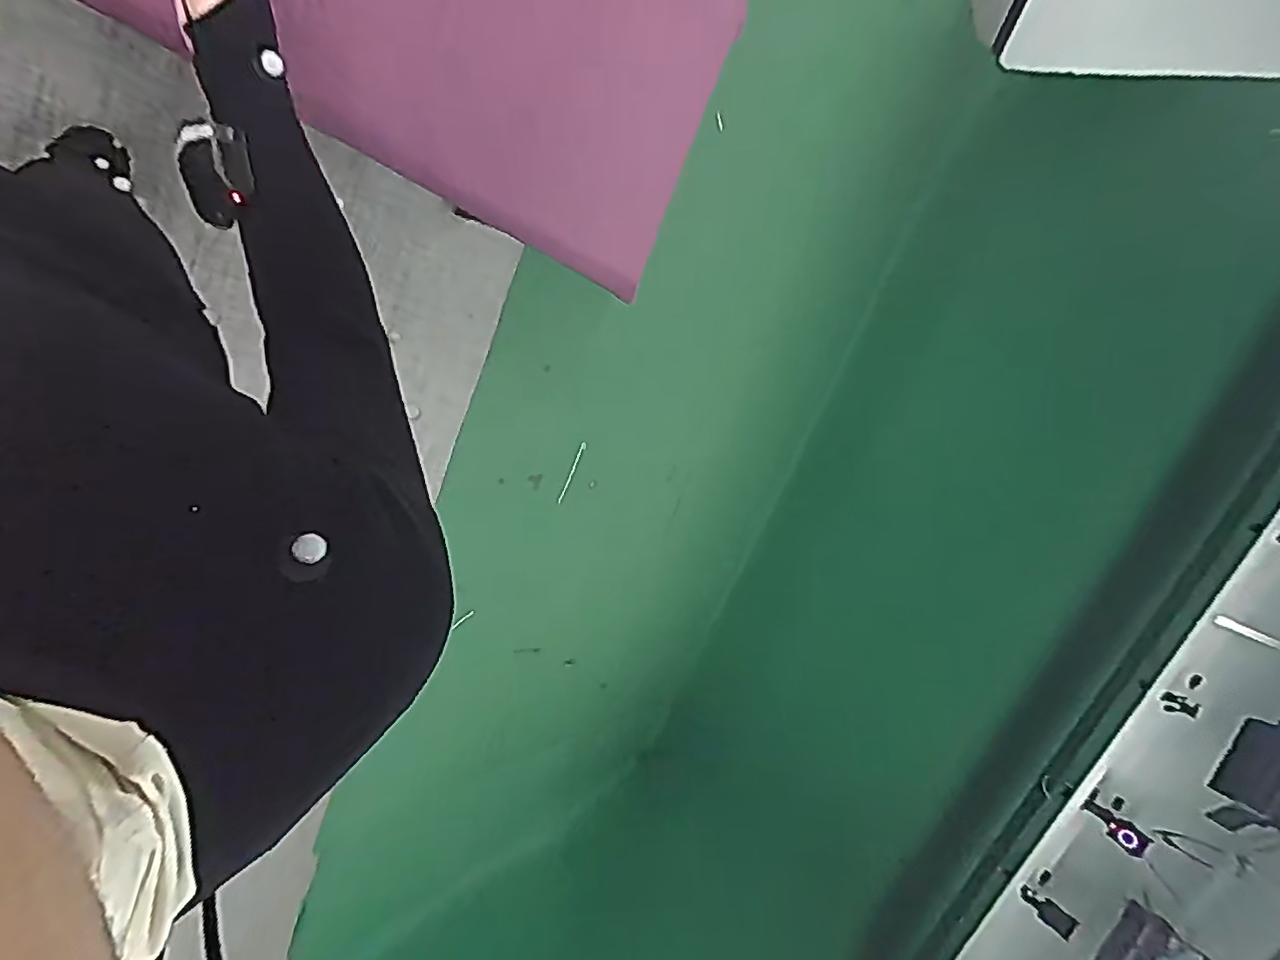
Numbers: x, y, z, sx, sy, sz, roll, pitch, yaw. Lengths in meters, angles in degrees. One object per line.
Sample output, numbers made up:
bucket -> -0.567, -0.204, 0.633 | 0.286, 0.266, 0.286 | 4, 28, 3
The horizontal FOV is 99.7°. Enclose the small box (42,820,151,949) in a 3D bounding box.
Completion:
small box -> -1.410, 1.036, 1.400 | 0.168, 0.176, 0.179 | 14, 105, -54

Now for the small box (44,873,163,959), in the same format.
small box -> -1.300, 1.114, 1.306 | 0.168, 0.176, 0.179 | 15, 105, -55
